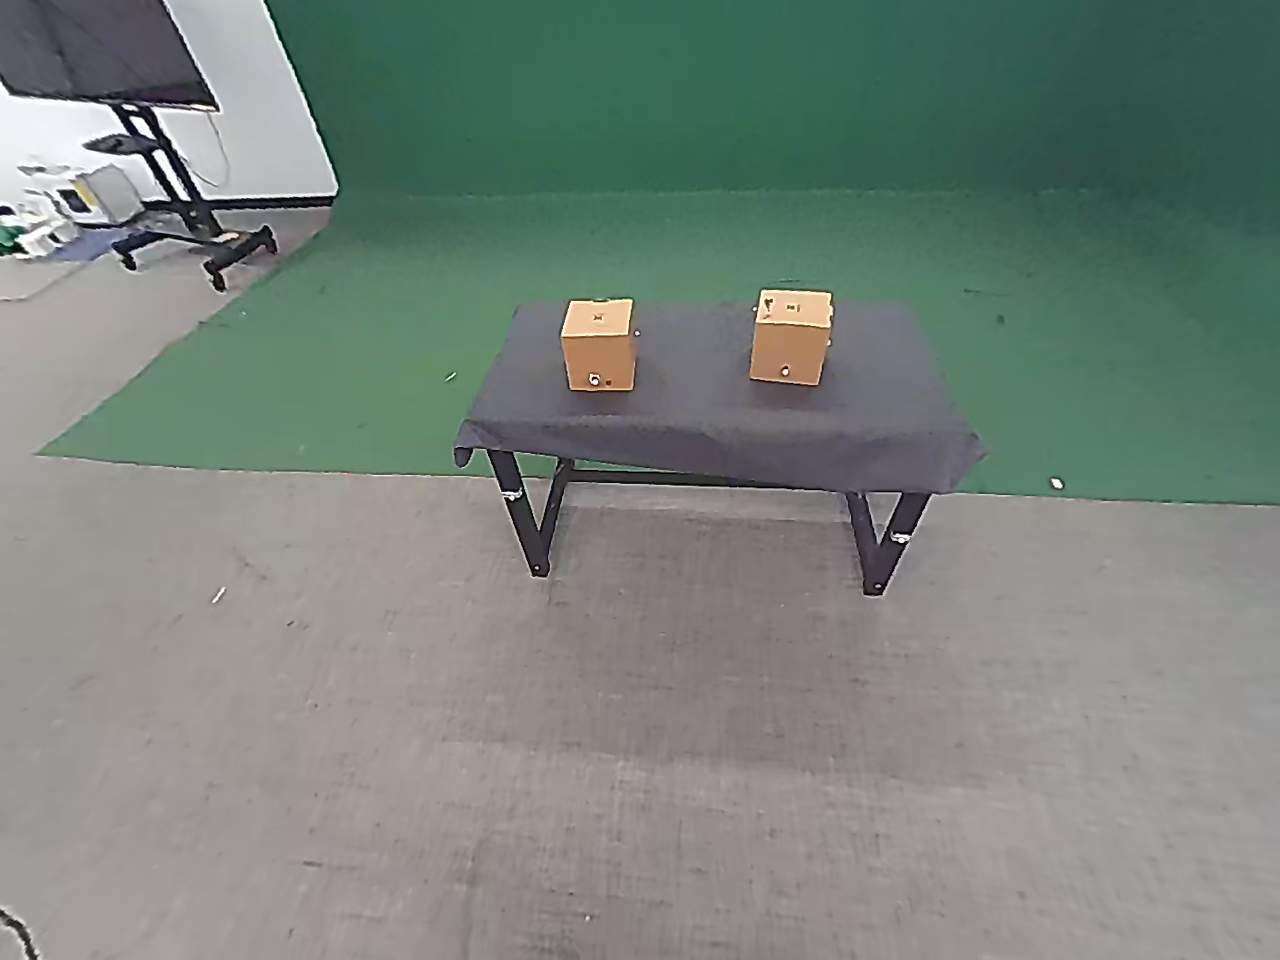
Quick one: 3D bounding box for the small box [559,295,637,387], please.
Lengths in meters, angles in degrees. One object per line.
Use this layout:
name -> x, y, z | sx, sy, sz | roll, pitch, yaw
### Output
small box -> -0.100, -0.359, 1.394 | 0.168, 0.176, 0.179 | 0, 47, 7

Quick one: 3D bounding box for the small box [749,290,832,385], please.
small box -> 0.384, -0.363, 1.385 | 0.179, 0.176, 0.168 | 9, 48, 11
